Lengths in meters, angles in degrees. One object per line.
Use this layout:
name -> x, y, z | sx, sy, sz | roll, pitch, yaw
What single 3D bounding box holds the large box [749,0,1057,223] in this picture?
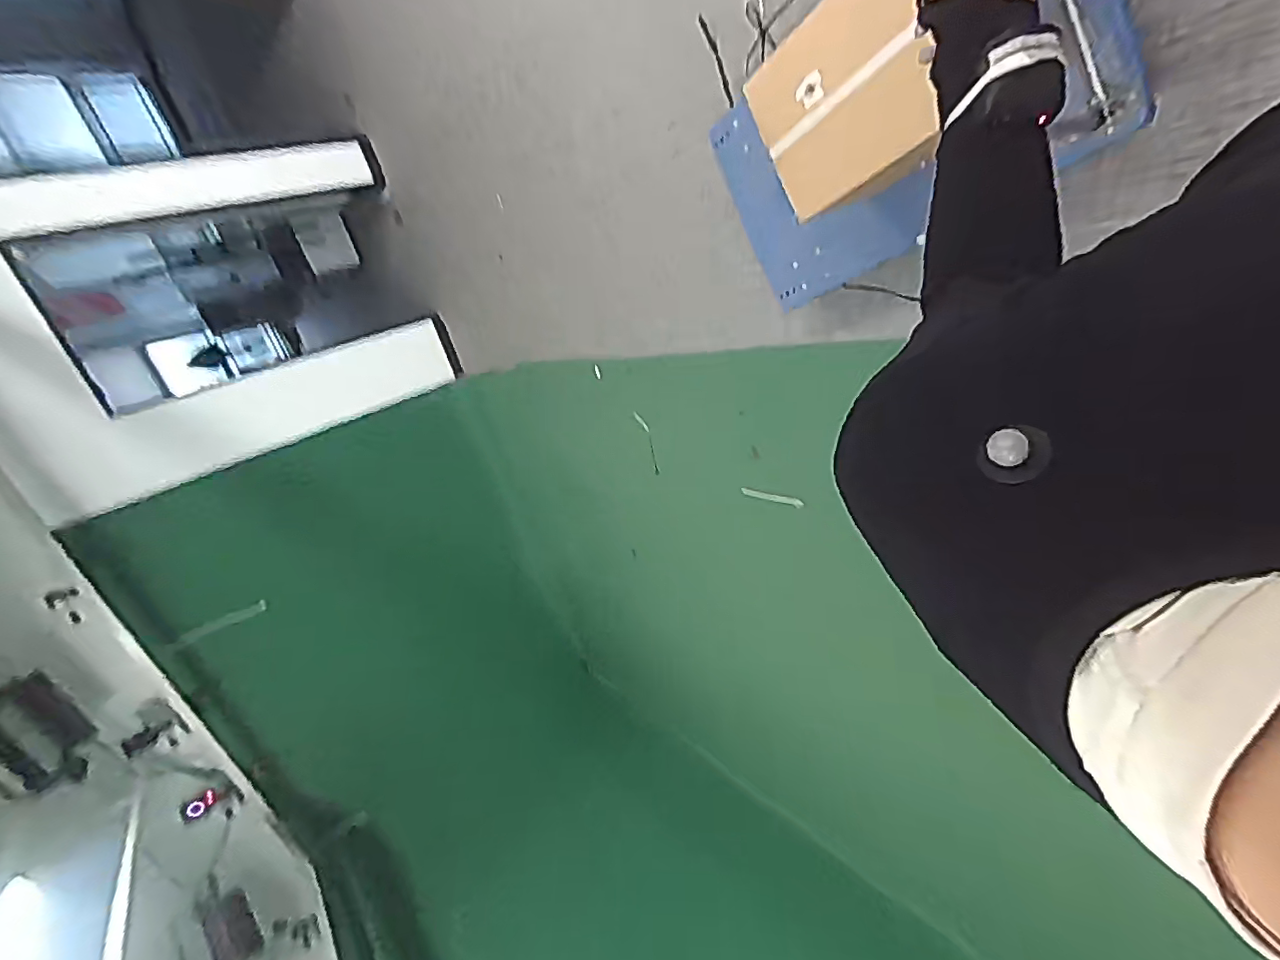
large box -> 0.507, -0.792, 1.080 | 0.408, 0.320, 0.320 | -14, 104, 58
